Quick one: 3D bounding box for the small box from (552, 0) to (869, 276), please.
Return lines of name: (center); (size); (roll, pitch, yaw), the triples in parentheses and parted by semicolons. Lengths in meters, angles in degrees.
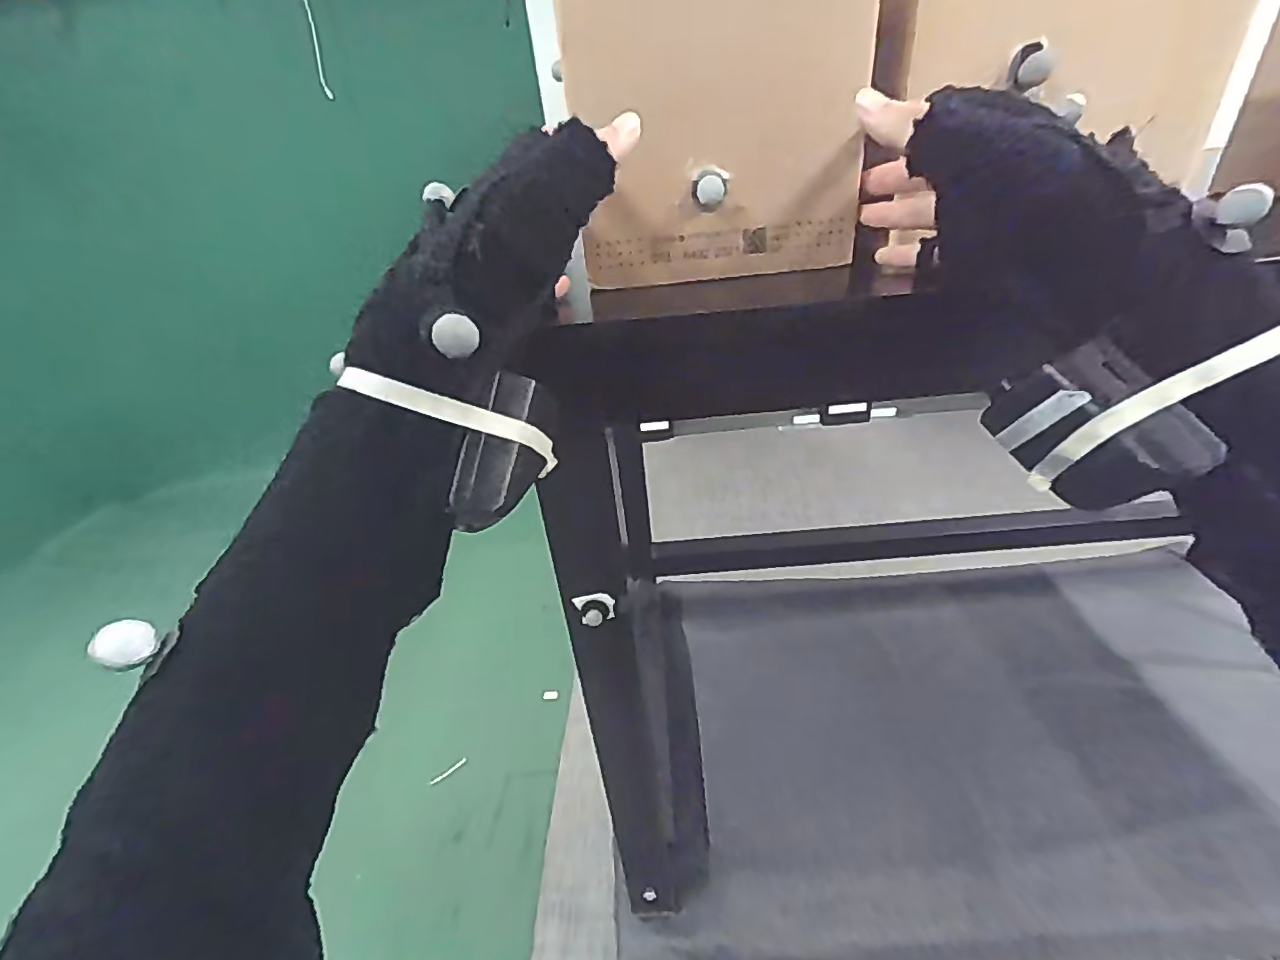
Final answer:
small box: (0.038, -0.243, 0.369); (0.168, 0.176, 0.179); (-5, 31, 2)
